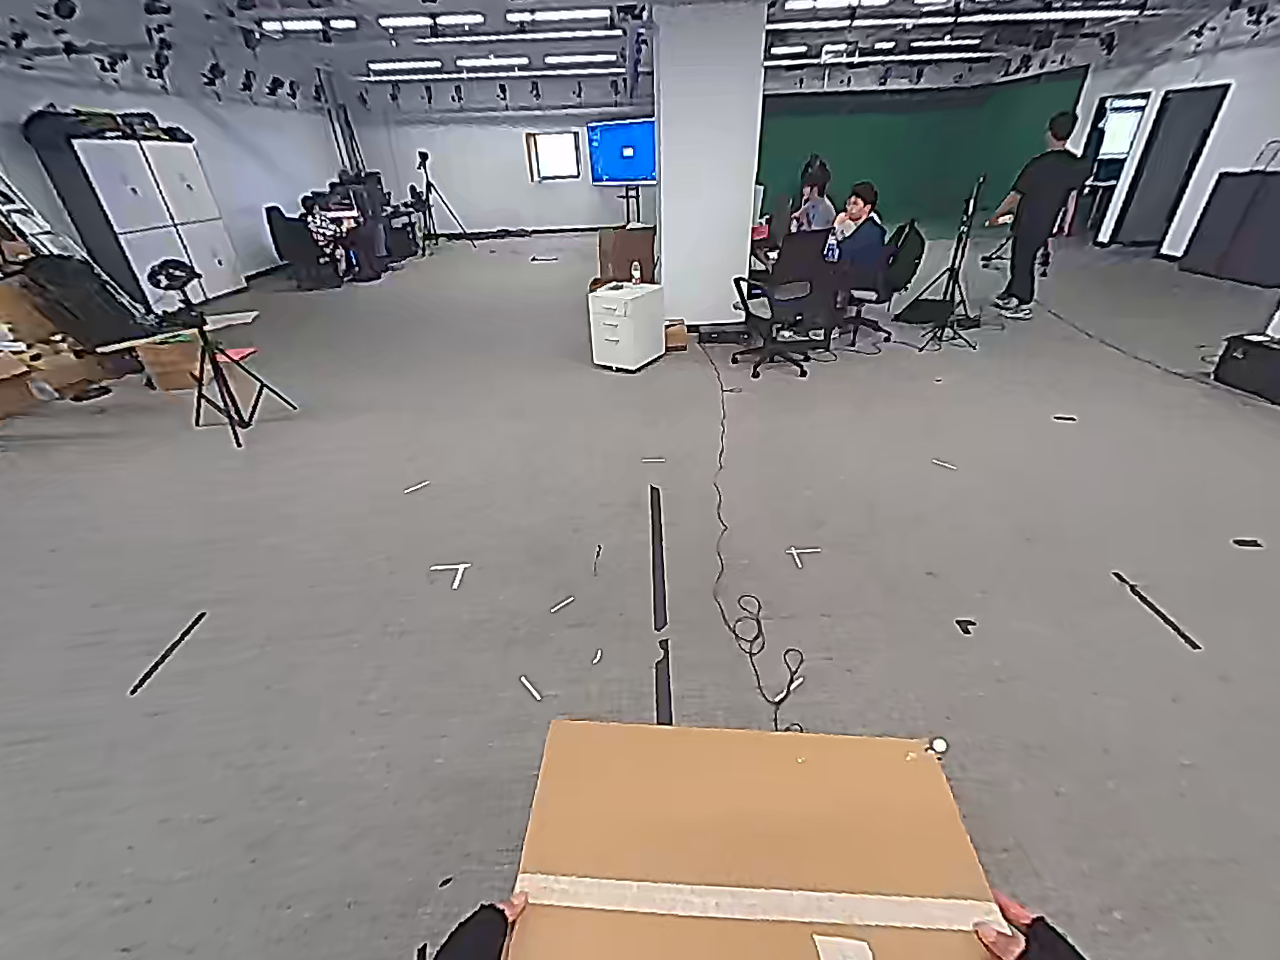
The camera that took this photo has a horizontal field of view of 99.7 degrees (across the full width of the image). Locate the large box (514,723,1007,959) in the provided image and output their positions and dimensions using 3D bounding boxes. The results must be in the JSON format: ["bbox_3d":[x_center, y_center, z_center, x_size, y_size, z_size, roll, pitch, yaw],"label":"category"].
[{"bbox_3d":[0.097,0.485,0.549,0.408,0.320,0.320,2,35,3],"label":"large box"}]
